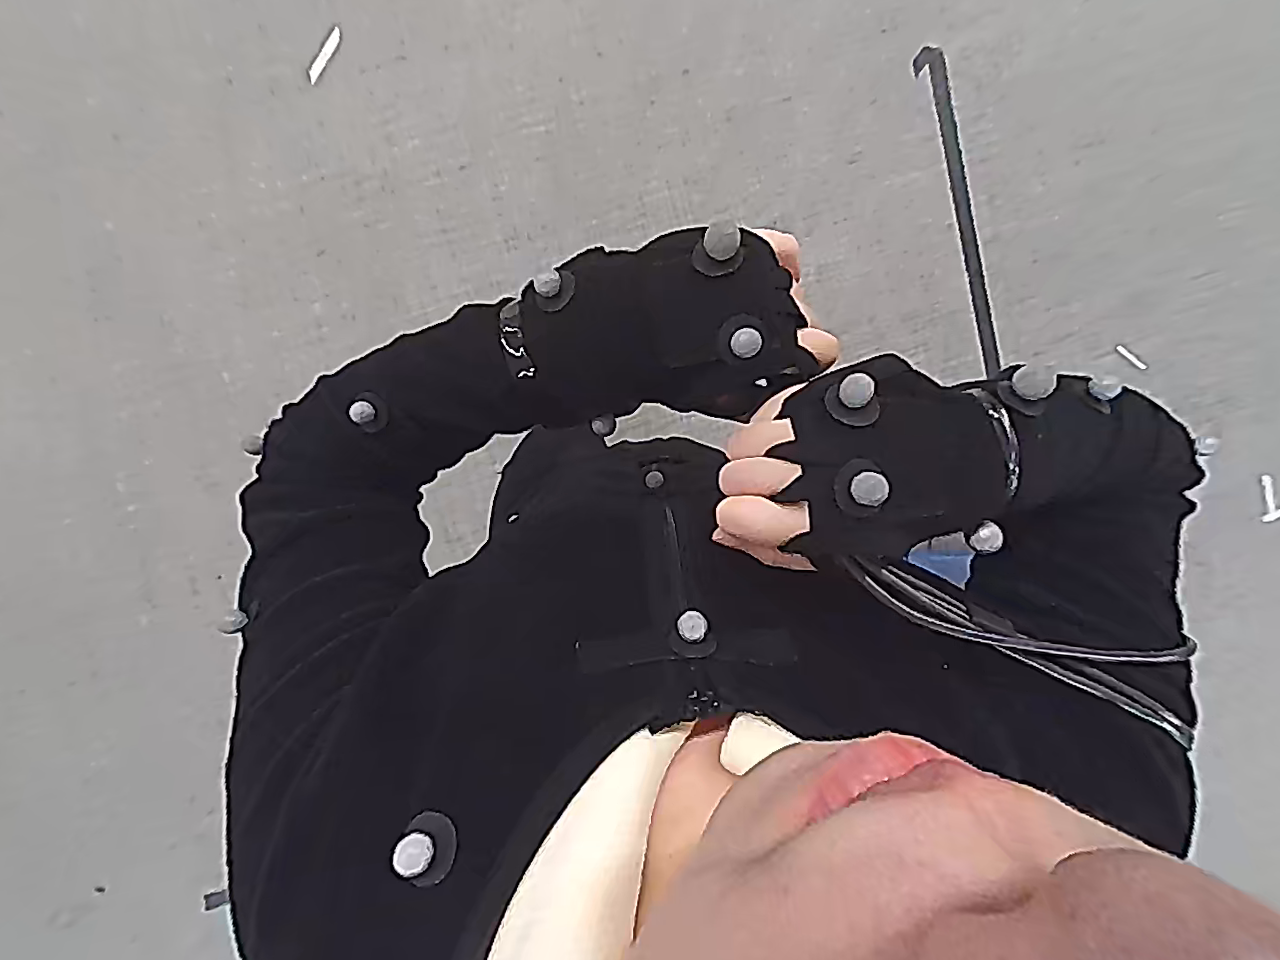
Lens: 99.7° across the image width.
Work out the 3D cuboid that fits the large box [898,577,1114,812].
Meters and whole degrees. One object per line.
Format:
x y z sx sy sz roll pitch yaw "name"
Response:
0.884 0.500 1.336 0.320 0.320 0.408 -11 99 -5 "large box"
